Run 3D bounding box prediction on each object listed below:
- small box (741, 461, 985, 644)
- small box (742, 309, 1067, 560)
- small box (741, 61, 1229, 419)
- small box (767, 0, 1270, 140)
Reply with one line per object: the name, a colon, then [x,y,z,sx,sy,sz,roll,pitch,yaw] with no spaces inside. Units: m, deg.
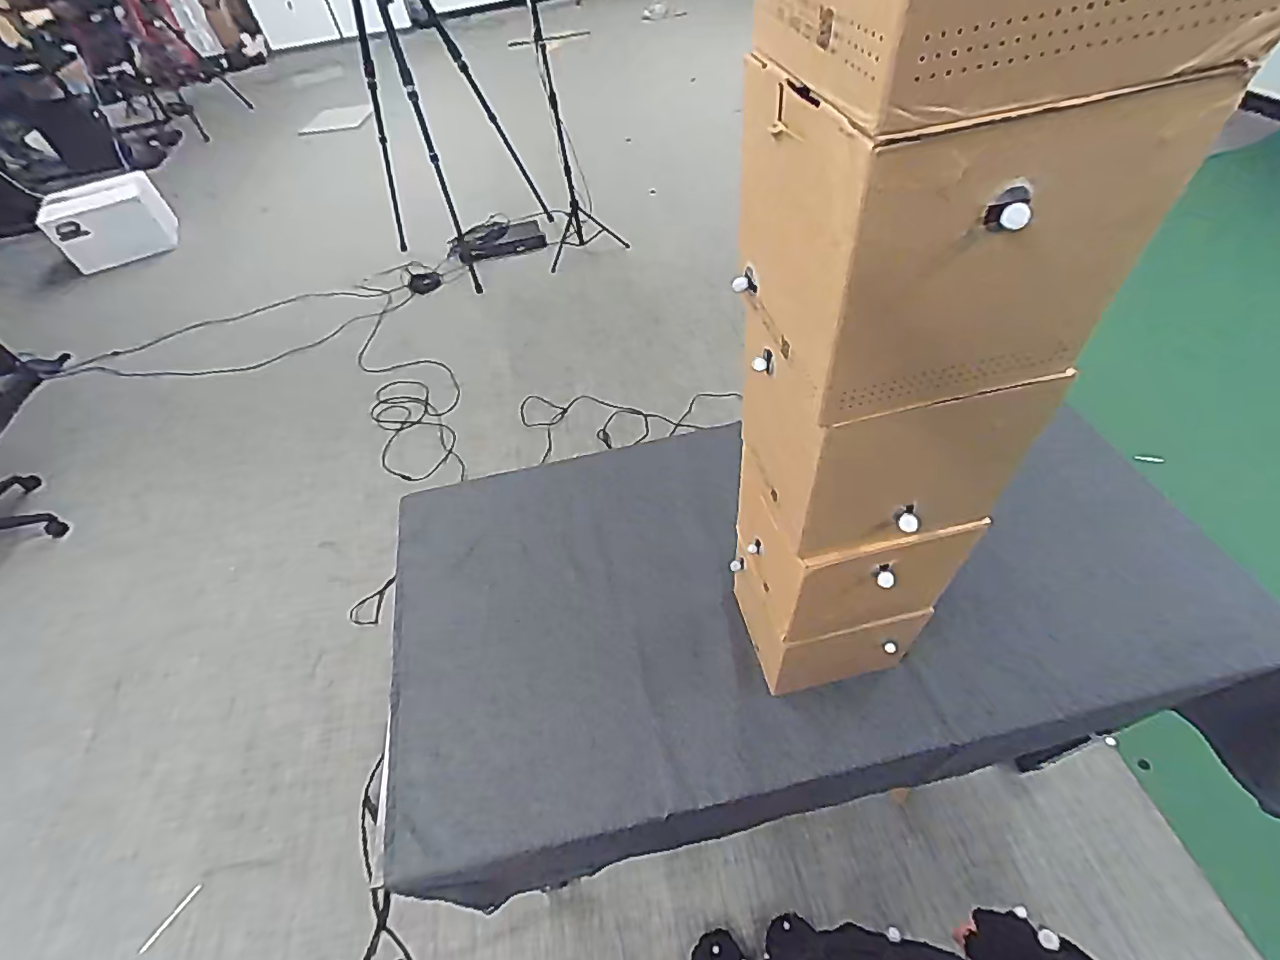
small box: [0.218,0.056,0.589,0.179,0.176,0.168,-13,49,-3]
small box: [0.197,-0.053,0.469,0.179,0.176,0.168,-12,49,-2]
small box: [0.172,-0.160,0.346,0.179,0.176,0.168,-13,50,-3]
small box: [0.157,-0.265,0.222,0.179,0.176,0.168,-11,50,-1]
